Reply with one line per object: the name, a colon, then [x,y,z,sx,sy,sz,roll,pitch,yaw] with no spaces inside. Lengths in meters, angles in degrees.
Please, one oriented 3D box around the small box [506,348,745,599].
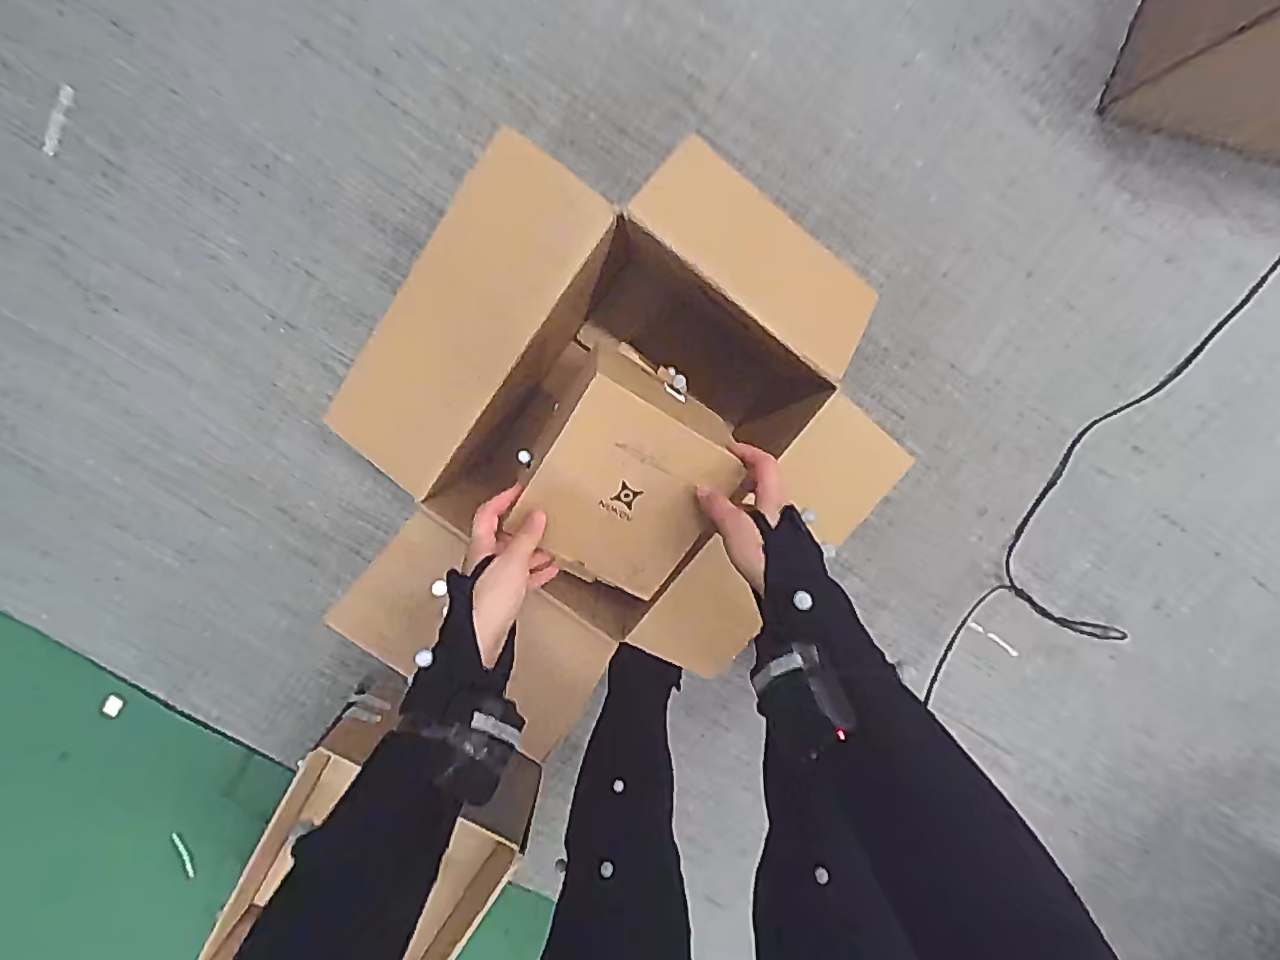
small box: [-0.019,-0.015,0.576,0.168,0.176,0.179,28,108,-16]
